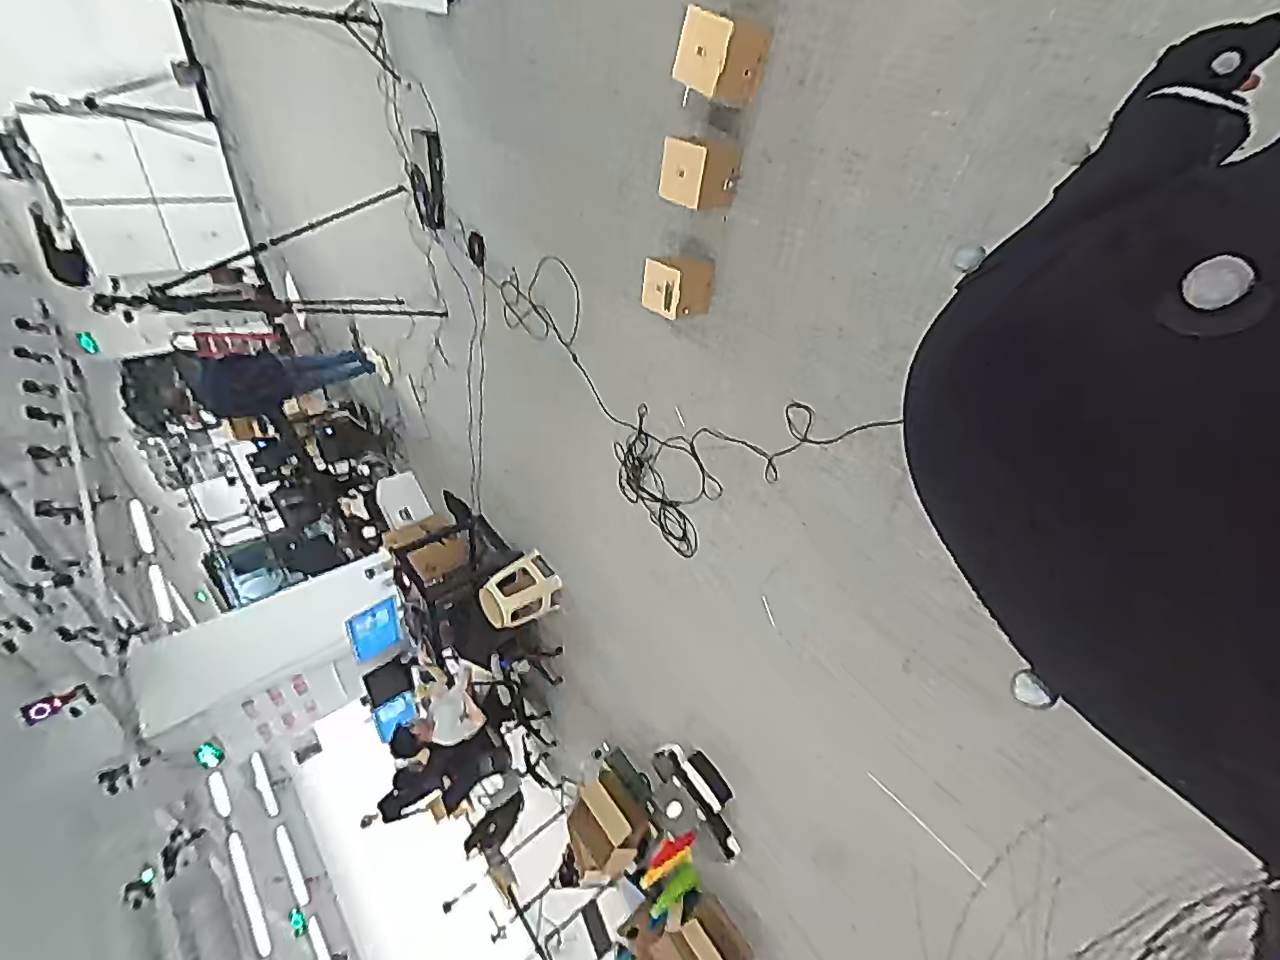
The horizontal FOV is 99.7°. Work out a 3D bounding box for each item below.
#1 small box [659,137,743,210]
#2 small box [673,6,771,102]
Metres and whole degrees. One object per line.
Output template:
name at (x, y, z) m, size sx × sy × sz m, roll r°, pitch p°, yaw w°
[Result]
small box at (0.185, -0.947, 1.666) m, size 0.179 × 0.176 × 0.168 m, roll 37°, pitch 137°, yaw 31°
small box at (0.225, -1.168, 1.491) m, size 0.179 × 0.176 × 0.168 m, roll 46°, pitch 139°, yaw 25°
